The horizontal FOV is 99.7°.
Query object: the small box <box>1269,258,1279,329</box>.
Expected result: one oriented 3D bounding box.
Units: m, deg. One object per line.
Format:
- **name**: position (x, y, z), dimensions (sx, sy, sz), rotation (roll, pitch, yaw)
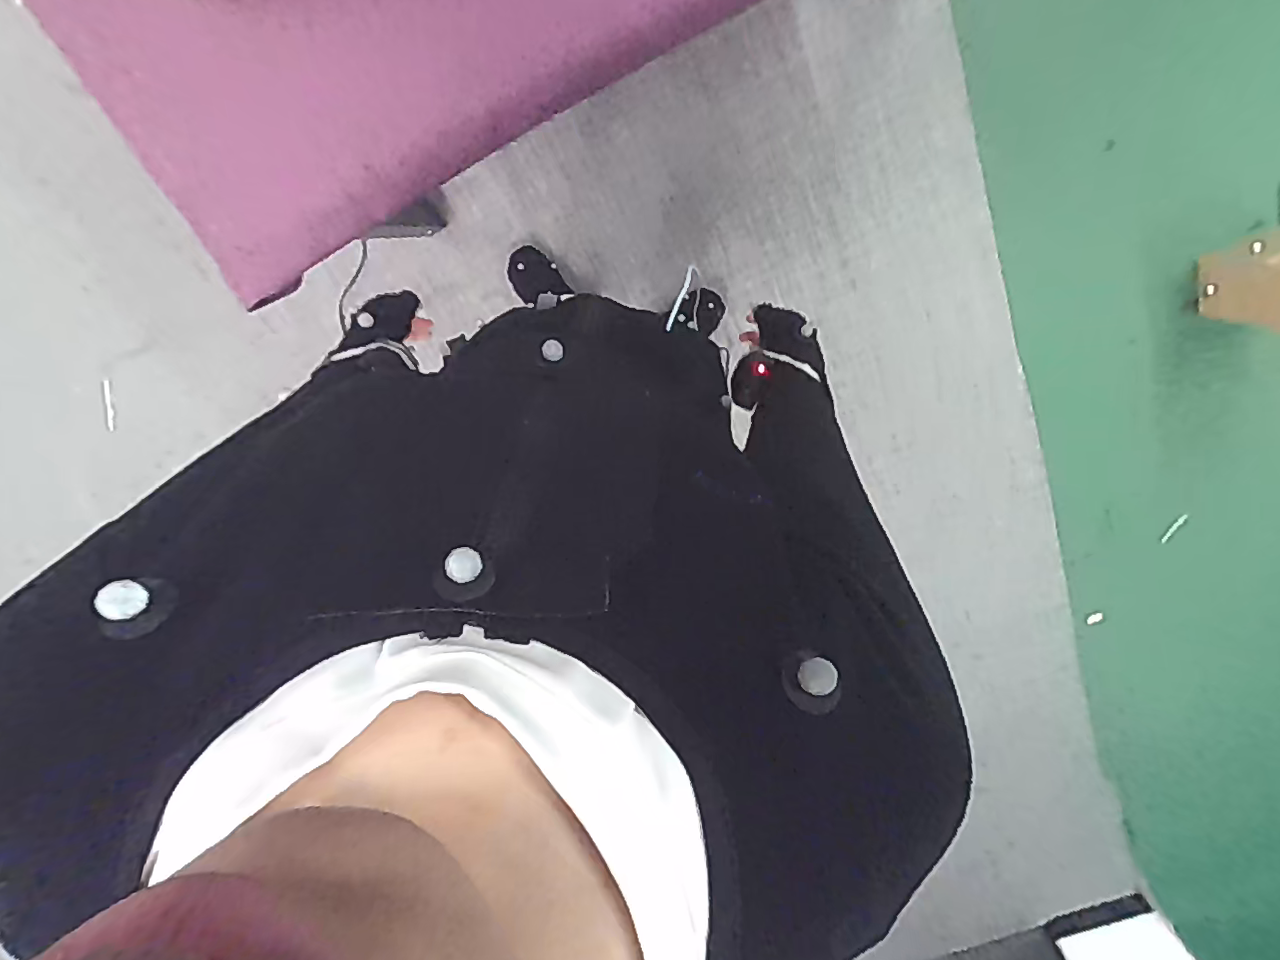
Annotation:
- **small box**: position (1.512, -0.418, 1.149), dimensions (0.168, 0.176, 0.179), rotation (-25, 114, 10)
